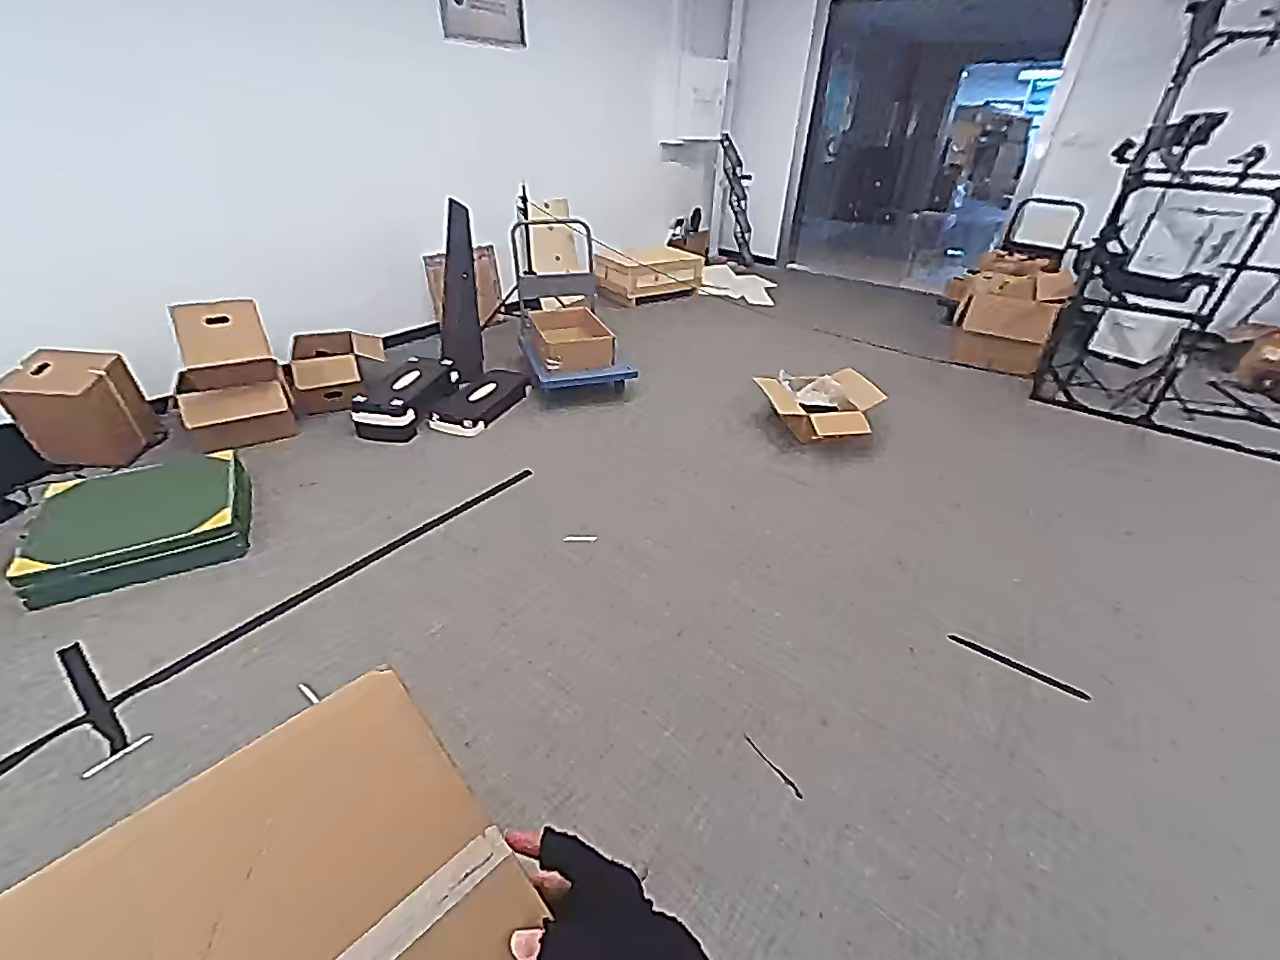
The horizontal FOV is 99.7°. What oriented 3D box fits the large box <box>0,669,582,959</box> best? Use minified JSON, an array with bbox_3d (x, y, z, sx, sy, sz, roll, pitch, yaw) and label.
[{"bbox_3d":[-0.261,0.422,0.357,0.408,0.320,0.320,-30,61,-34],"label":"large box"}]
